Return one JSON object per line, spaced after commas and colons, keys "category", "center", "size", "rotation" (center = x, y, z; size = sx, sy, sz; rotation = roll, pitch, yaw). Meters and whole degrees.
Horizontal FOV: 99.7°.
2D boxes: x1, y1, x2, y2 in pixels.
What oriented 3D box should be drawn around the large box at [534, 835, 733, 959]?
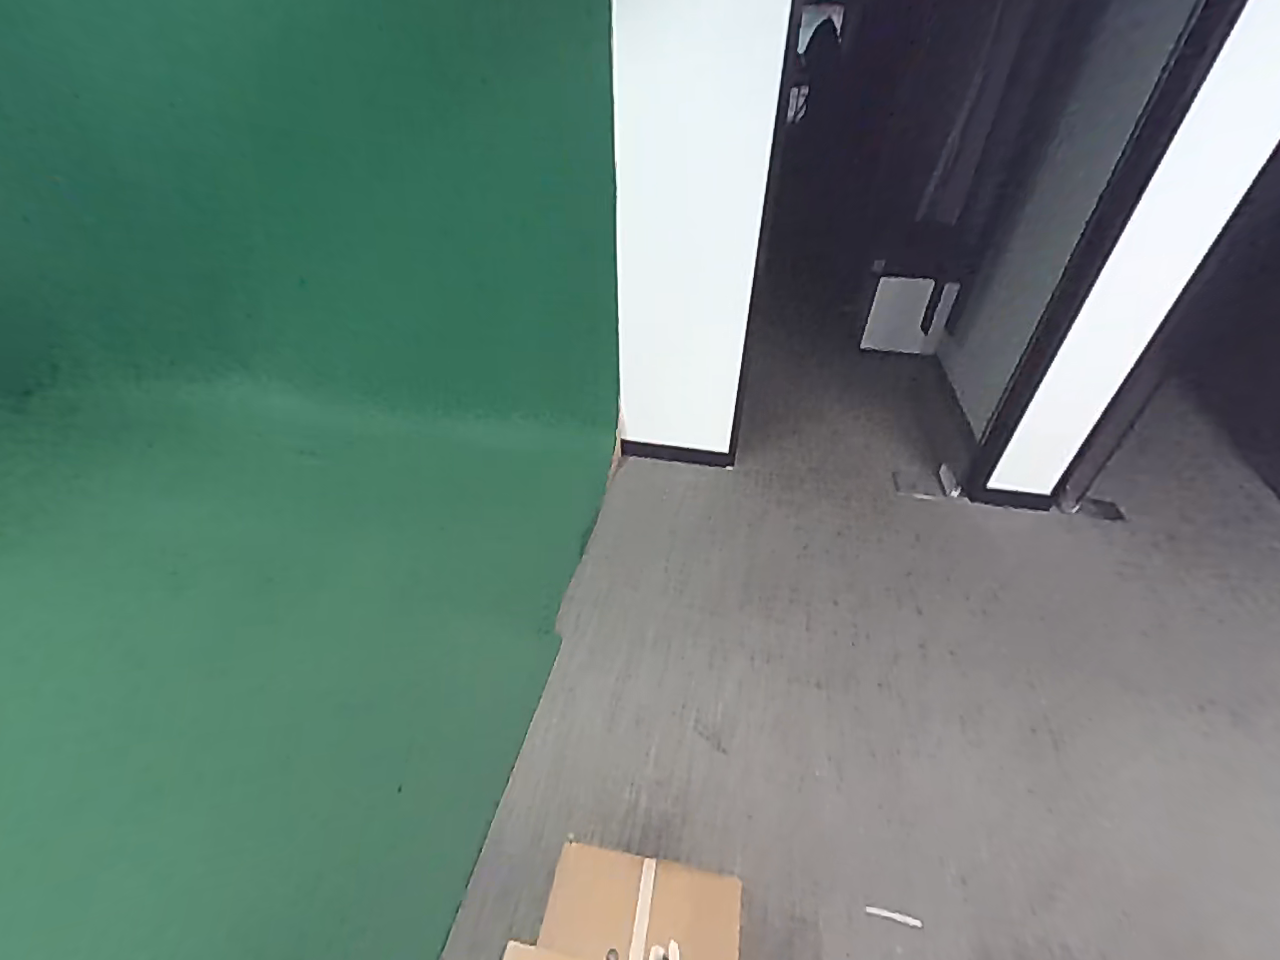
{"category": "large box", "center": [-0.027, 0.889, 0.881], "size": [0.320, 0.320, 0.408], "rotation": [8, 39, 9]}
